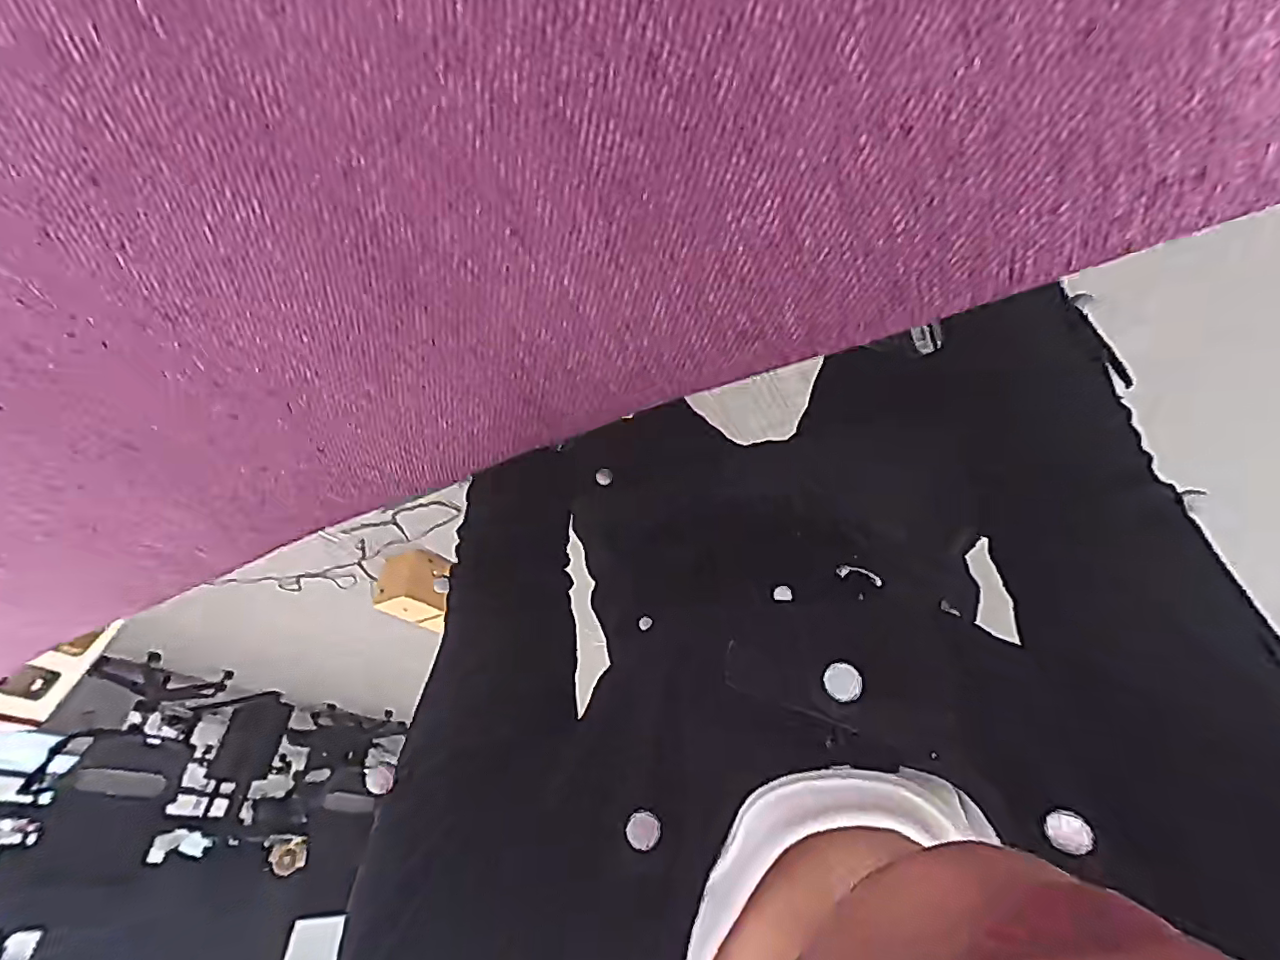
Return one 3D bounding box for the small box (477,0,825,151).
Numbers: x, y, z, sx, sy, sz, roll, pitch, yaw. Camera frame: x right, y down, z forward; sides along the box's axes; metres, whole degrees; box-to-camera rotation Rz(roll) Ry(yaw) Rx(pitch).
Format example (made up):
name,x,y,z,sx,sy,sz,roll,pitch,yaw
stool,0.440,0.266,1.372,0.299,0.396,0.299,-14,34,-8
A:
name,x,y,z,sx,sy,sz,roll,pitch,yaw
small box,-0.005,-0.314,0.297,0.168,0.176,0.179,-20,118,17
